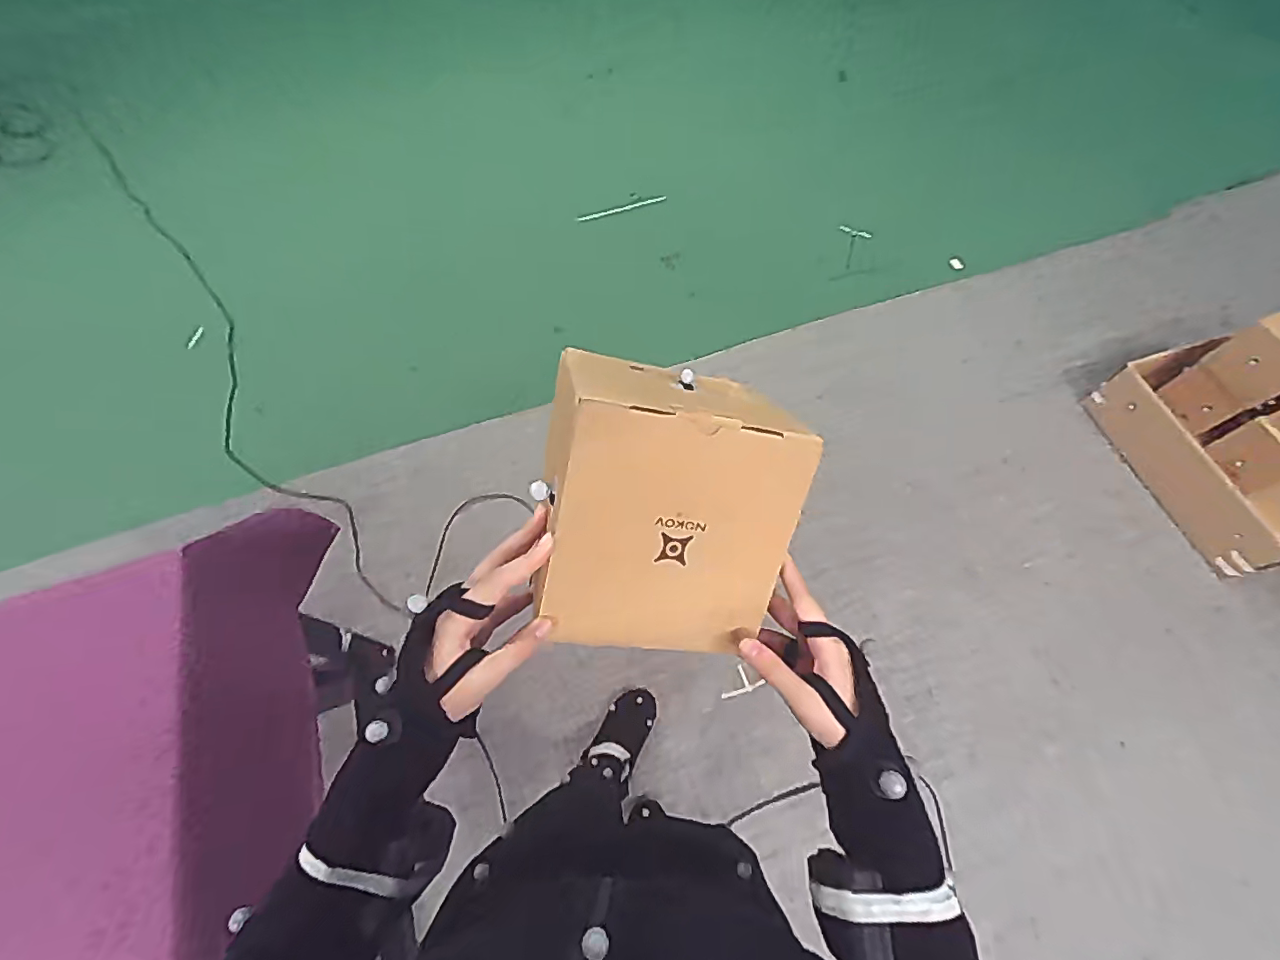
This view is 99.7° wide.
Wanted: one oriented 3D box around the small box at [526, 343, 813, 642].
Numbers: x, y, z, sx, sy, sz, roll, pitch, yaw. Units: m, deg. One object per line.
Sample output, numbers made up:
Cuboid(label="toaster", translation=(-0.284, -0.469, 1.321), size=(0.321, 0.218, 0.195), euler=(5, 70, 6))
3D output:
Cuboid(label="small box", translation=(0.006, 0.002, 0.435), size=(0.168, 0.179, 0.176), euler=(8, 21, -13))

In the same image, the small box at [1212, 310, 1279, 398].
Cuboid(label="small box", translation=(1.660, -0.332, 1.380), size=(0.168, 0.176, 0.179), euler=(-21, 65, -7))

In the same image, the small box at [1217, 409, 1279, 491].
Cuboid(label="small box", translation=(1.739, -0.095, 1.446), size=(0.179, 0.176, 0.168), euler=(-17, 63, -5))
